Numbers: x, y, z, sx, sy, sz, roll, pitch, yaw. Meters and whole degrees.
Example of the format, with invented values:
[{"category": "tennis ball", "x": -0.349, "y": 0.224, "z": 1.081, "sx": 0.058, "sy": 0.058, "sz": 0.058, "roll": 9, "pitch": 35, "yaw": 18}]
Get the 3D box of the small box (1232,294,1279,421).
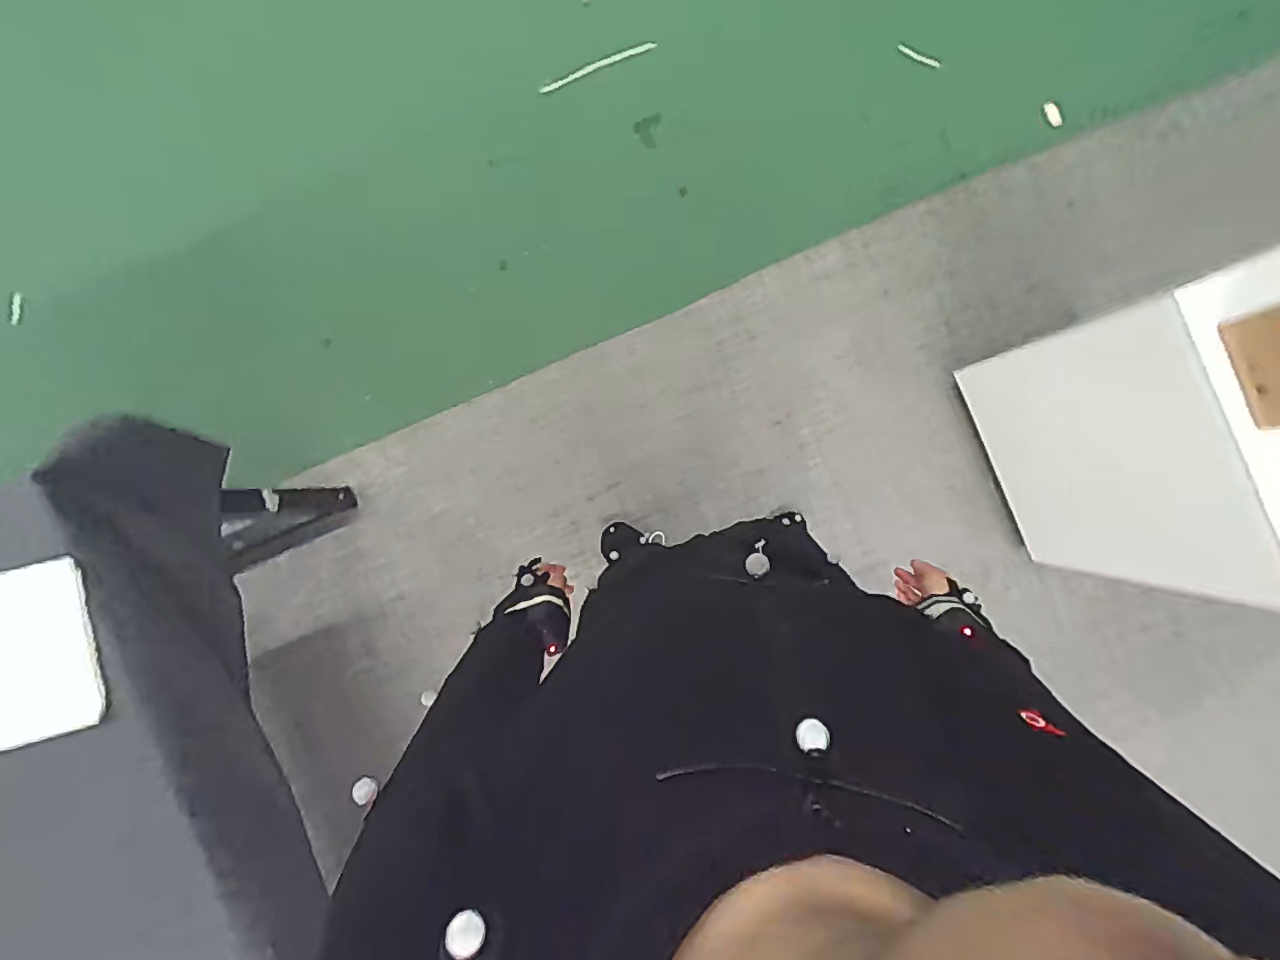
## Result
[{"category": "small box", "x": 0.932, "y": -0.185, "z": 0.692, "sx": 0.179, "sy": 0.176, "sz": 0.168, "roll": -22, "pitch": 91, "yaw": -2}]
